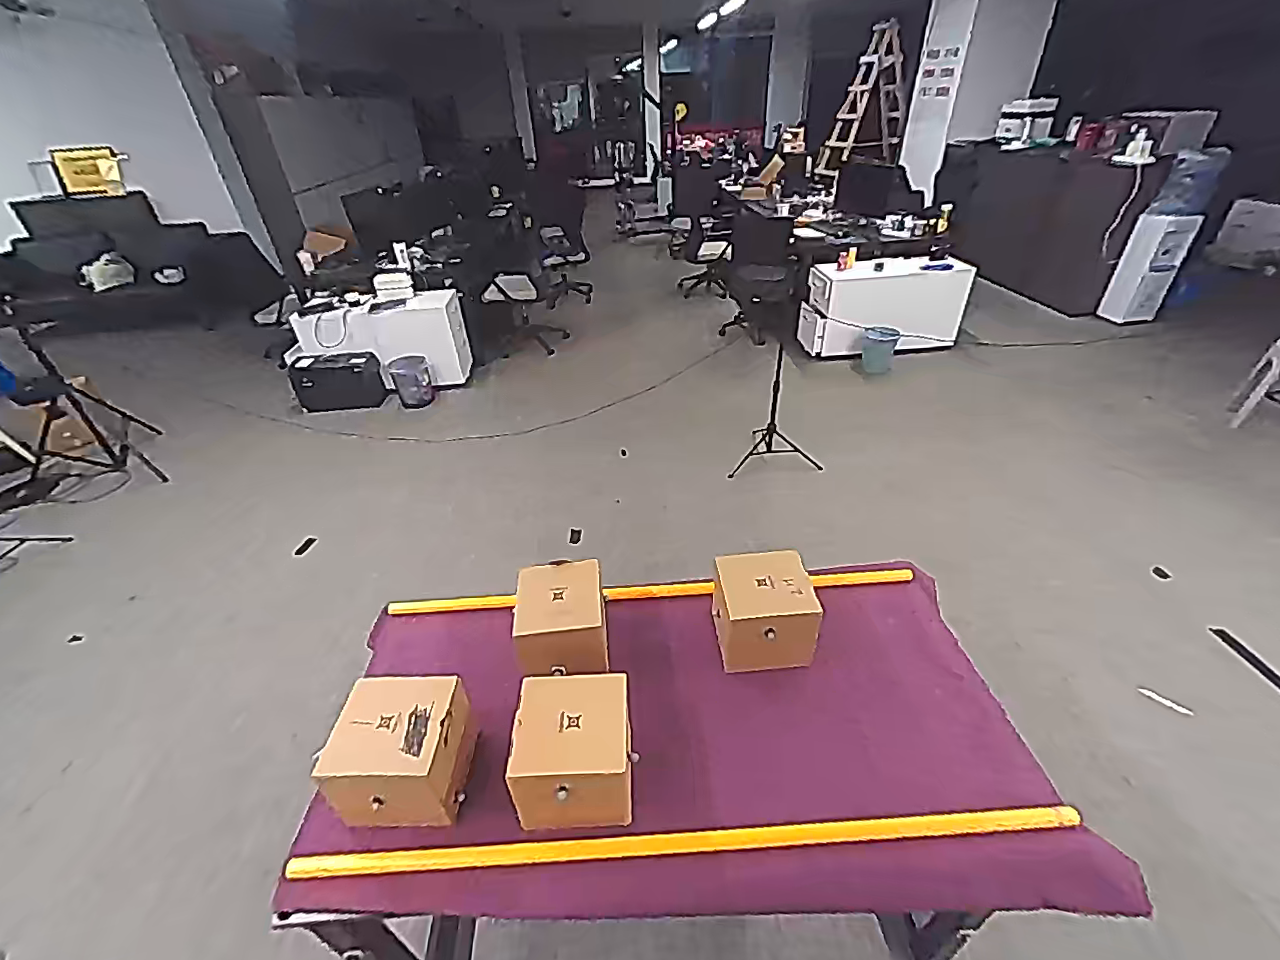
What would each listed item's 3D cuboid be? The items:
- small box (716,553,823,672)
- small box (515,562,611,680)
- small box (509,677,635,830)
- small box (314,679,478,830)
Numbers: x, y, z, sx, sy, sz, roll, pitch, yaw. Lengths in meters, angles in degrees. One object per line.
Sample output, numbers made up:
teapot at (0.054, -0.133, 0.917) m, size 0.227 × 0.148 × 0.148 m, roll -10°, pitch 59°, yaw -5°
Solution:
small box at (0.251, 0.270, 1.094) m, size 0.179 × 0.176 × 0.168 m, roll -4°, pitch 37°, yaw -1°
small box at (-0.150, 0.292, 1.097) m, size 0.168 × 0.176 × 0.179 m, roll -6°, pitch 36°, yaw -3°
small box at (-0.098, 0.443, 0.879) m, size 0.179 × 0.176 × 0.168 m, roll -3°, pitch 35°, yaw 1°
small box at (-0.381, 0.449, 0.887) m, size 0.179 × 0.176 × 0.168 m, roll -1°, pitch 35°, yaw 2°
